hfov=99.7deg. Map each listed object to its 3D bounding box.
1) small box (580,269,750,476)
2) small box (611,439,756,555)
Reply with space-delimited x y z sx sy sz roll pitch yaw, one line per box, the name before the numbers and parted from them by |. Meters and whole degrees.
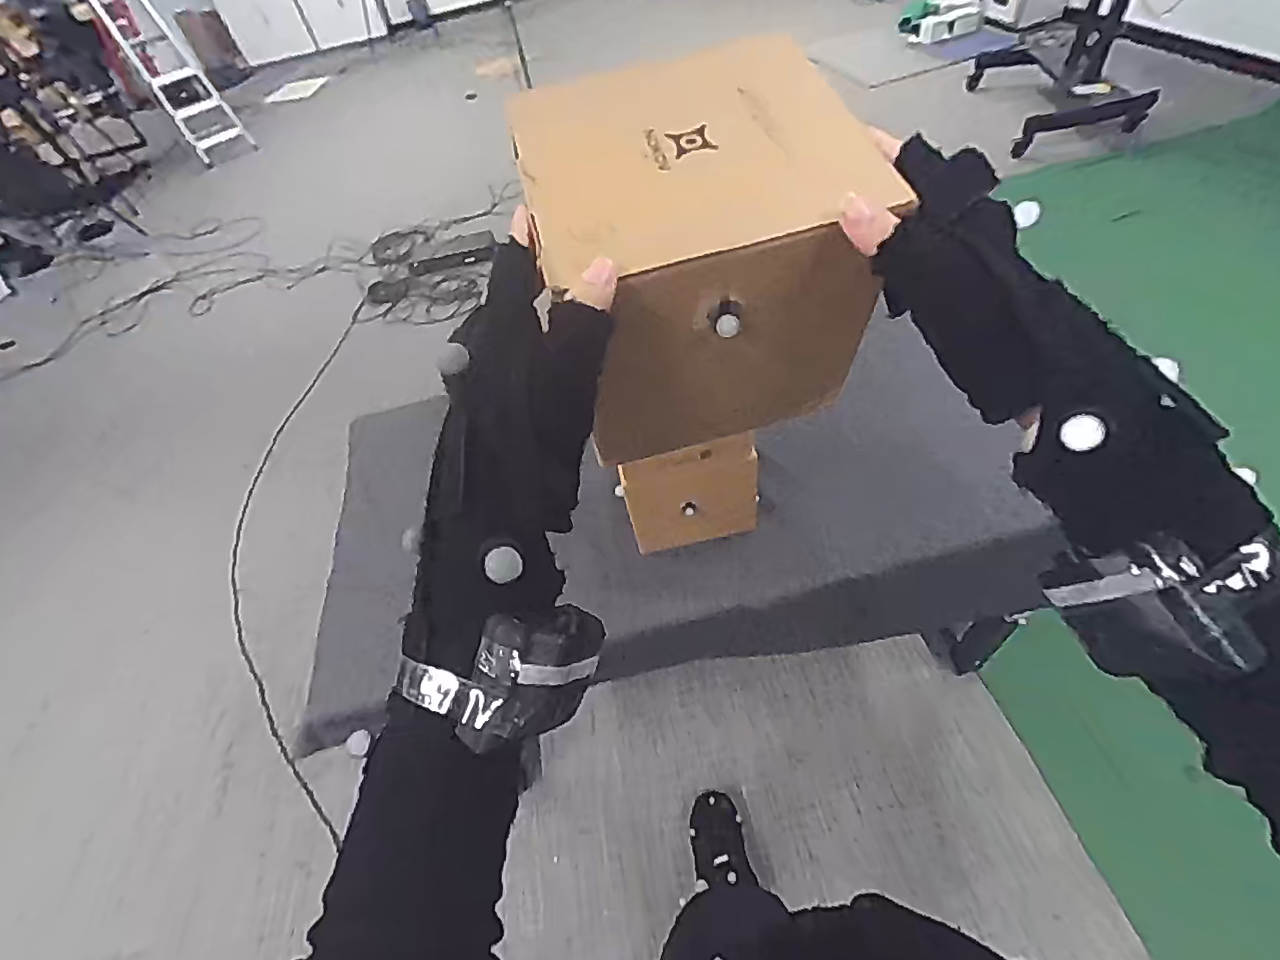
small box | 0.033 -0.123 0.667 0.168 0.176 0.179 -14 50 0
small box | 0.059 -0.015 0.786 0.179 0.176 0.168 -14 50 1
